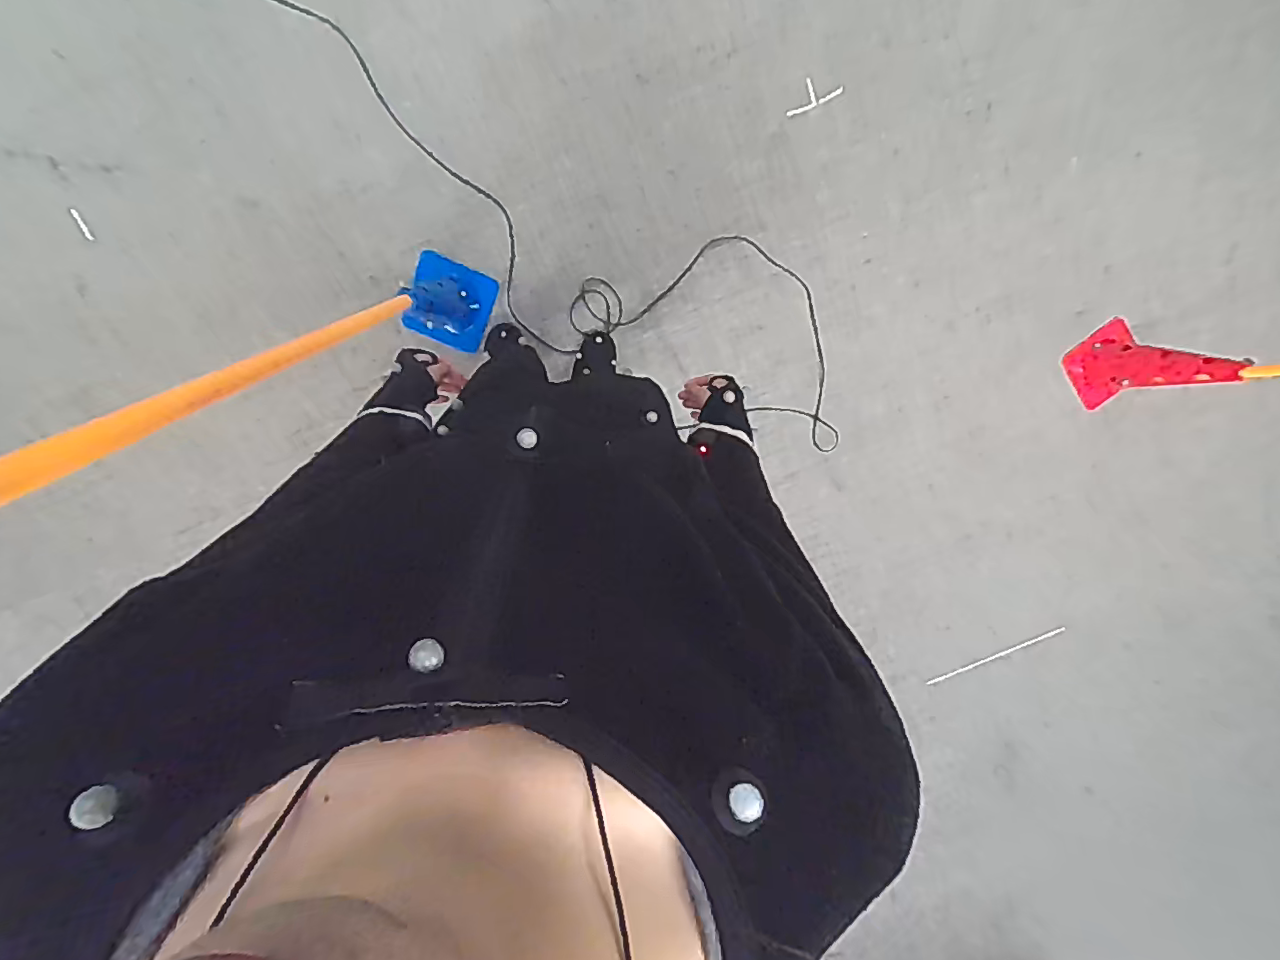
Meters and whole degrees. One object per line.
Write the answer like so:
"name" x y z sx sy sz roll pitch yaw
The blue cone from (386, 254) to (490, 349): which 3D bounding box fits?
"blue cone" -0.462 -0.386 1.181 0.192 0.380 0.193 20 105 -12
